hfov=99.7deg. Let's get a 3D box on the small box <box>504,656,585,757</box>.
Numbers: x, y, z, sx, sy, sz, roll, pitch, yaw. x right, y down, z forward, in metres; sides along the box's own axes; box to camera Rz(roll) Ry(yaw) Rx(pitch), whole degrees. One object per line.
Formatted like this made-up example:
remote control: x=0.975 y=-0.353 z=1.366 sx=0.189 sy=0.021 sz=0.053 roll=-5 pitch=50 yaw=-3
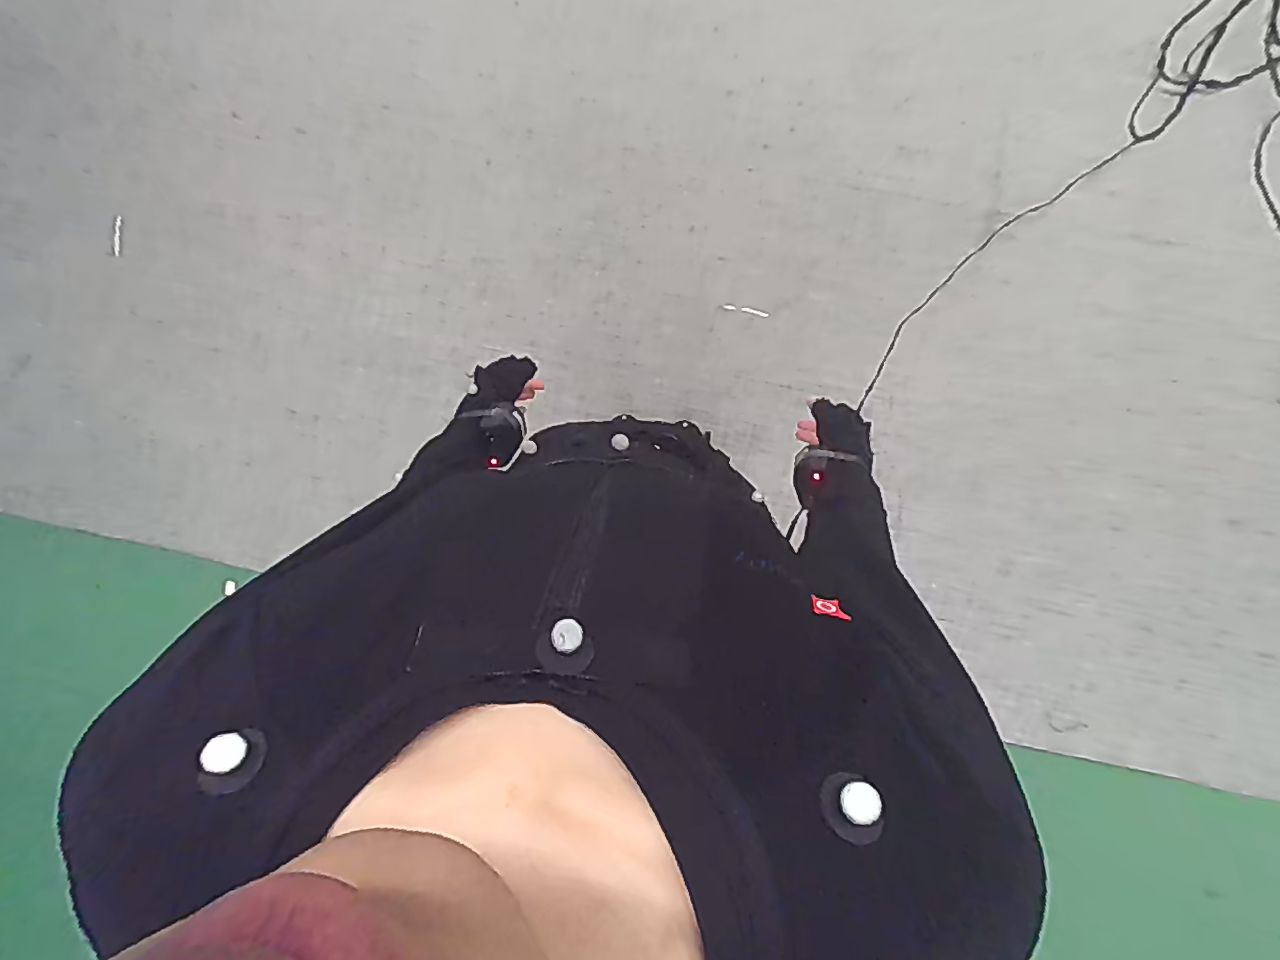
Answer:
small box: x=-0.256 y=0.615 z=1.484 sx=0.168 sy=0.176 sz=0.179 roll=12 pitch=98 yaw=3
